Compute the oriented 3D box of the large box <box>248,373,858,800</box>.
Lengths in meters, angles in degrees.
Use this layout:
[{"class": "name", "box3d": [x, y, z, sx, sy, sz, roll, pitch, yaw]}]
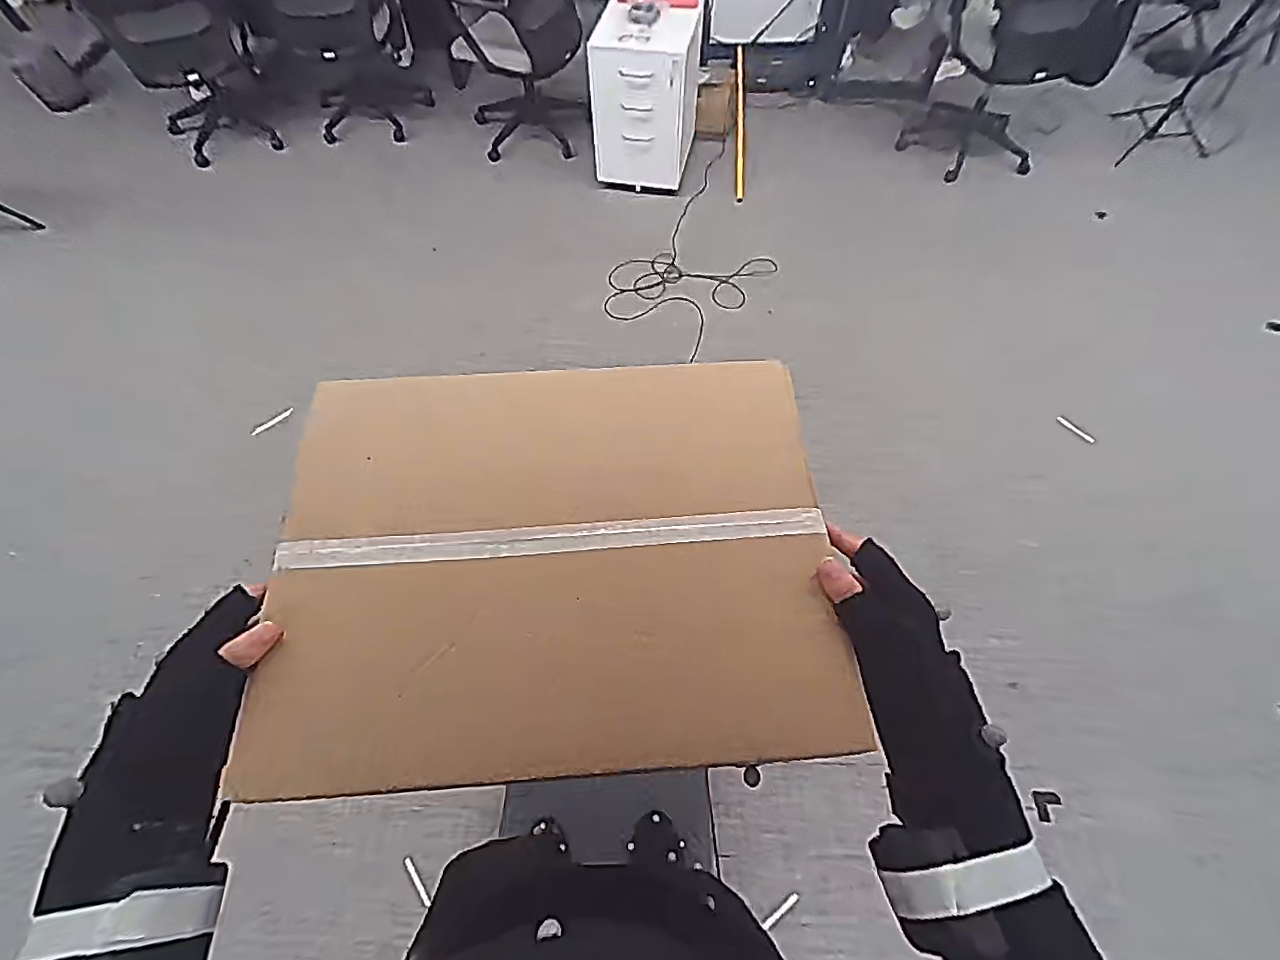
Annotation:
[{"class": "large box", "box3d": [-0.063, 0.115, 0.547, 0.408, 0.320, 0.320, -3, 63, -3]}]
